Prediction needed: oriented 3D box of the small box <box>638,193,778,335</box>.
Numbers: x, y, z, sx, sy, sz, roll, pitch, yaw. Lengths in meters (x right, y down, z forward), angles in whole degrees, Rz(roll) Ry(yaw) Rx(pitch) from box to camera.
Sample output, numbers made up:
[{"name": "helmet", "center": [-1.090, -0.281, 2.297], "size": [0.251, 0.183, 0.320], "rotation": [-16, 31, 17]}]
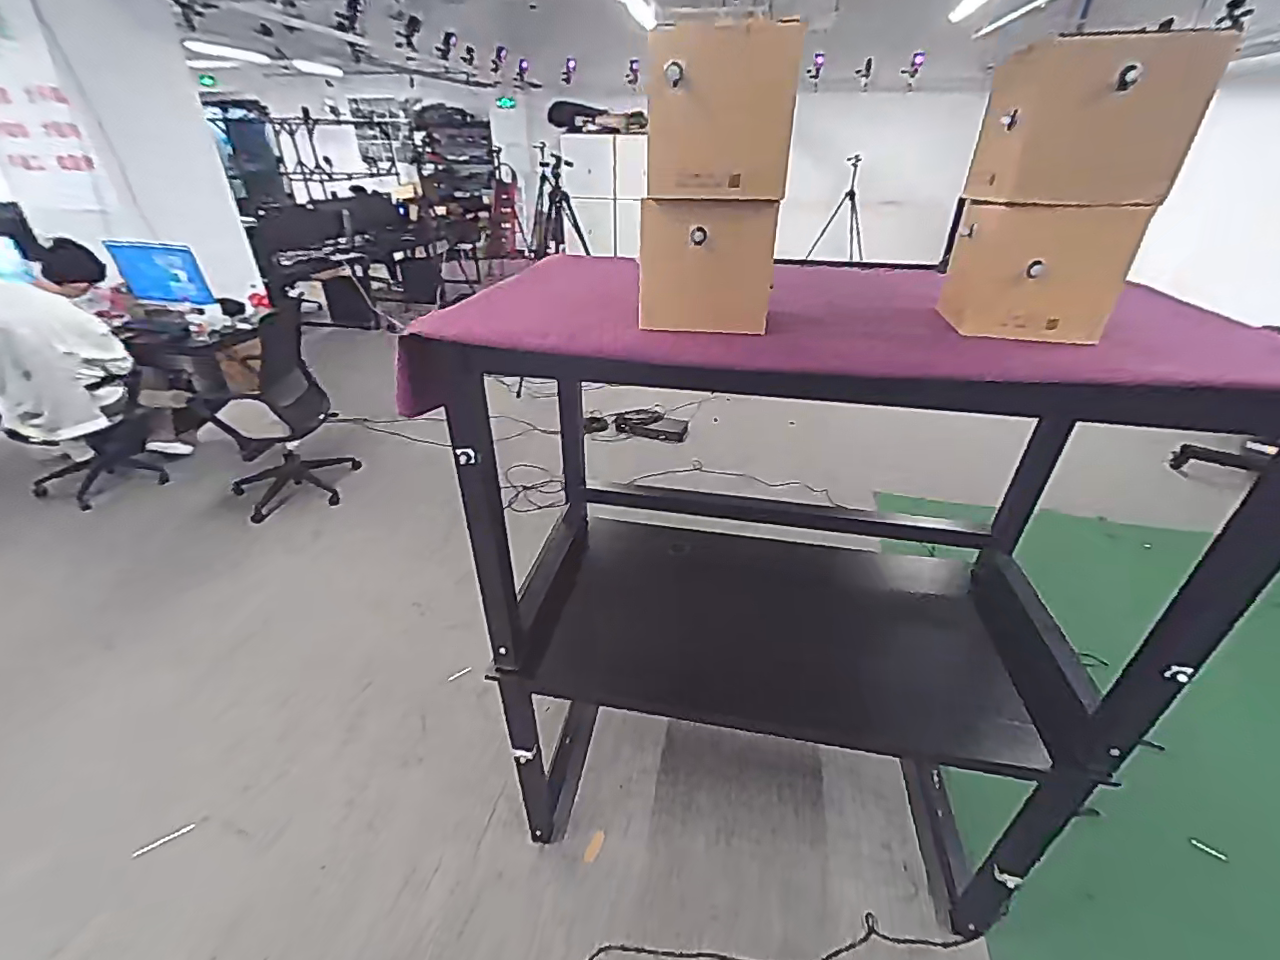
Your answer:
[{"name": "small box", "center": [0.093, -0.311, 0.772], "size": [0.179, 0.176, 0.168], "rotation": [4, 31, 6]}]

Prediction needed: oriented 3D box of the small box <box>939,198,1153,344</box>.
[{"name": "small box", "center": [0.541, -0.295, 0.753], "size": [0.168, 0.176, 0.179], "rotation": [7, 30, 12]}]

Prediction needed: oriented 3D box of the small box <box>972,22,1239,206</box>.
[{"name": "small box", "center": [0.537, -0.433, 0.665], "size": [0.179, 0.176, 0.168], "rotation": [6, 31, 9]}]
